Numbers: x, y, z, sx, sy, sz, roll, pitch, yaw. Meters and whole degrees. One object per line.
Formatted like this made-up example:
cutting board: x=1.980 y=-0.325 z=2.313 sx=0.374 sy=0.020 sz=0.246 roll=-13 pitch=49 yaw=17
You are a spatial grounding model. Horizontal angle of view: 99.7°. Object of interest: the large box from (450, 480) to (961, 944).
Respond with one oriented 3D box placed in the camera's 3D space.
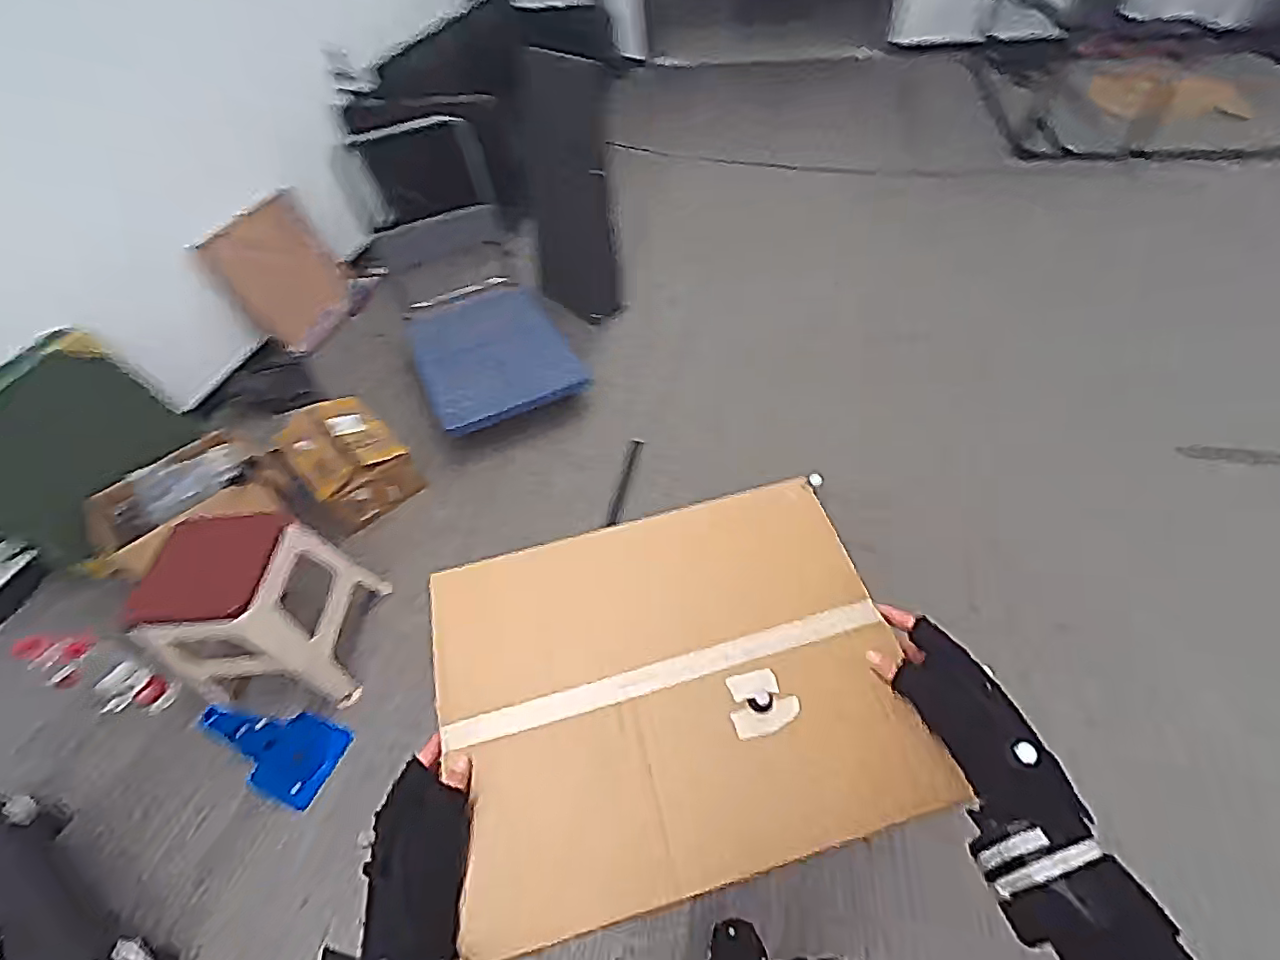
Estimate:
large box: x=0.039 y=0.250 z=0.620 sx=0.408 sy=0.320 sz=0.320 roll=-14 pitch=59 yaw=-6
